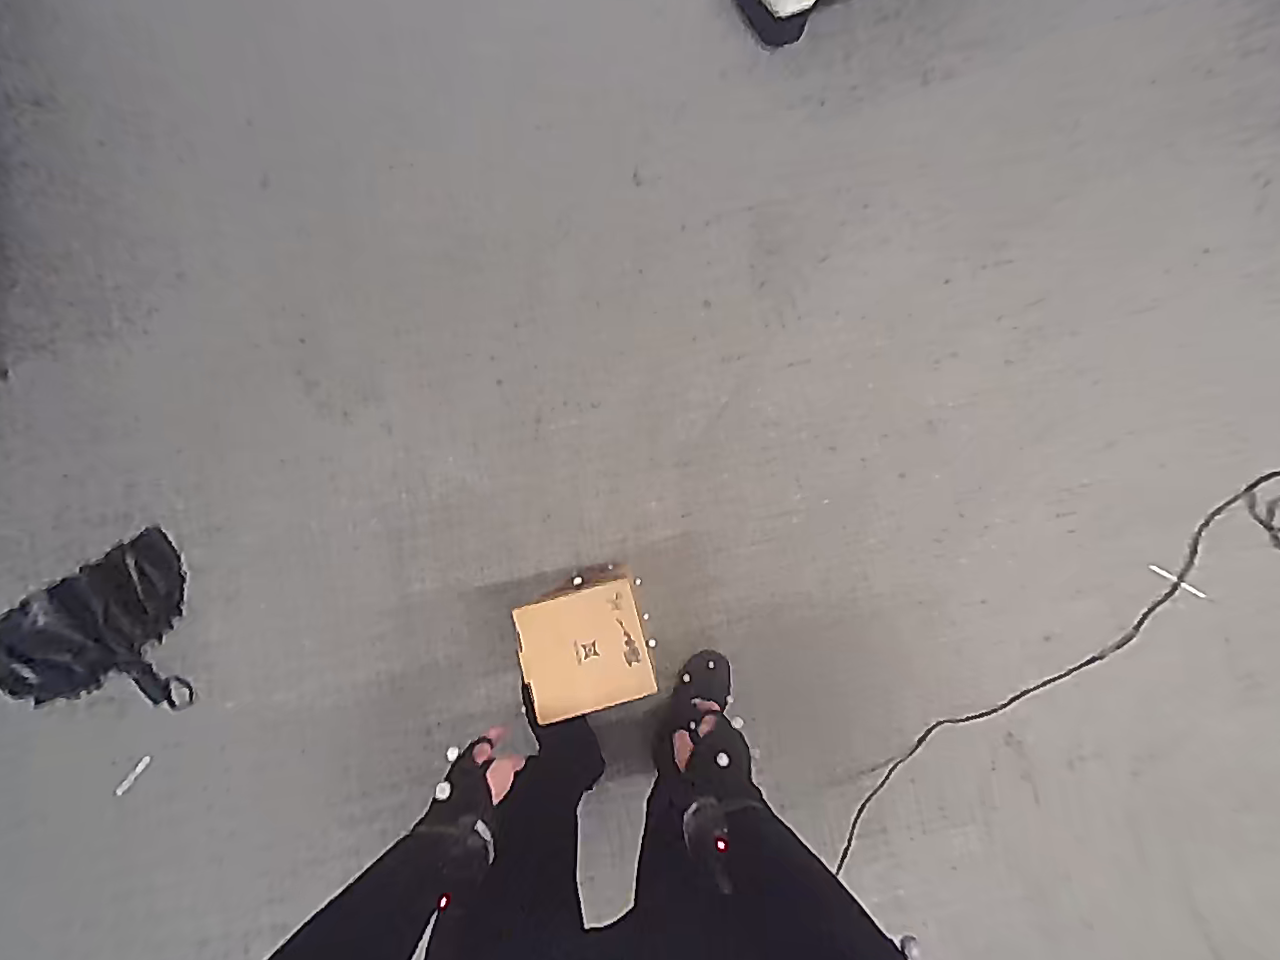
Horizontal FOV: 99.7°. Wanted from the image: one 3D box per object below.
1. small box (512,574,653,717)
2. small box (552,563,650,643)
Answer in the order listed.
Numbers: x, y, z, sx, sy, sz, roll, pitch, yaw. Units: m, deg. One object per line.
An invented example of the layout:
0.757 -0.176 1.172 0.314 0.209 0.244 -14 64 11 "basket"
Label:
-0.082 0.250 0.855 0.179 0.176 0.168 -15 82 -1 "small box"
-0.082 0.285 1.181 0.168 0.176 0.179 -17 84 -2 "small box"
